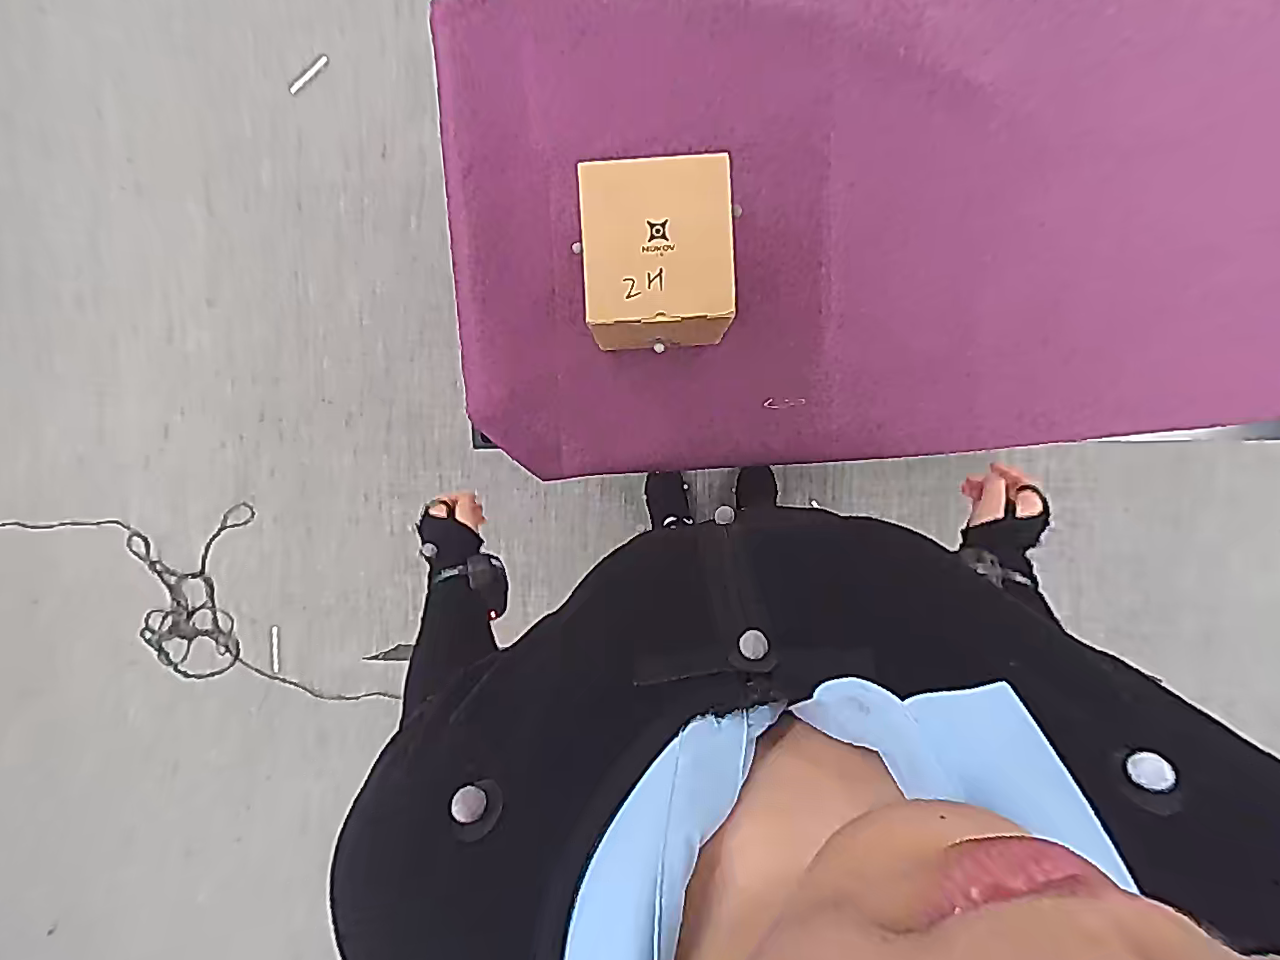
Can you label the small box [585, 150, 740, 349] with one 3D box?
[{"bbox_3d":[0.025,-0.266,0.660,0.168,0.176,0.179,-3,94,2],"label":"small box"}]
